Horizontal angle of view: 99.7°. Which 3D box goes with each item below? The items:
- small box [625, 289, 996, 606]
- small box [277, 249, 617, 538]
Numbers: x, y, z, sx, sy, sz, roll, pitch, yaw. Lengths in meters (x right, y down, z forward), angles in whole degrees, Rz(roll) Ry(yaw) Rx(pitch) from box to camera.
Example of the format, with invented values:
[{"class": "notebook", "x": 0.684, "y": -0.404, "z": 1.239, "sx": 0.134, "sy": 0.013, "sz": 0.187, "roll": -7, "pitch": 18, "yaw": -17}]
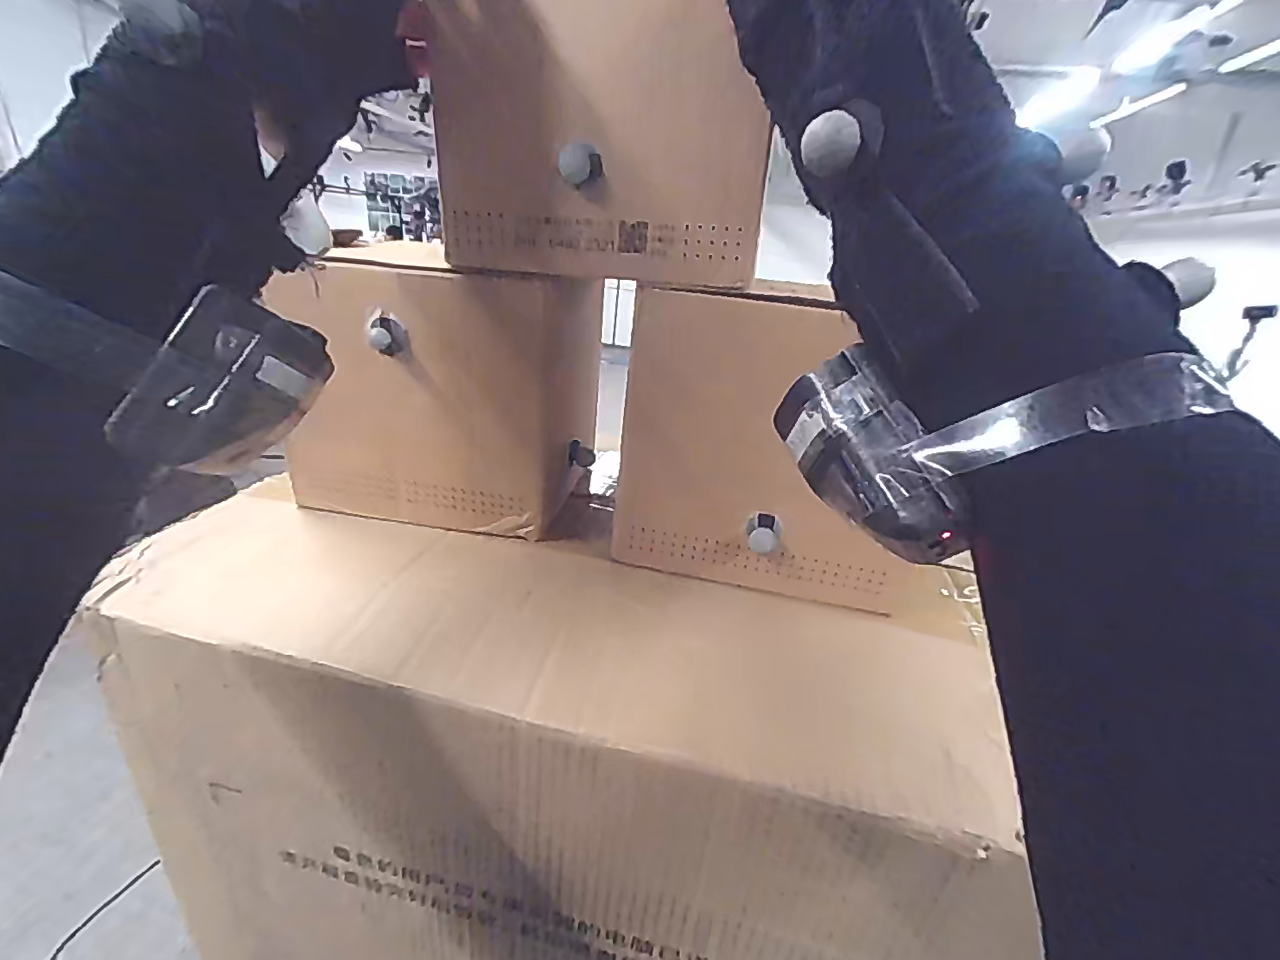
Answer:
[{"class": "small box", "x": 0.095, "y": -0.035, "z": 0.374, "sx": 0.179, "sy": 0.176, "sz": 0.168, "roll": 9, "pitch": 23, "yaw": 8}, {"class": "small box", "x": -0.122, "y": -0.073, "z": 0.406, "sx": 0.179, "sy": 0.176, "sz": 0.168, "roll": 9, "pitch": 25, "yaw": 5}]
